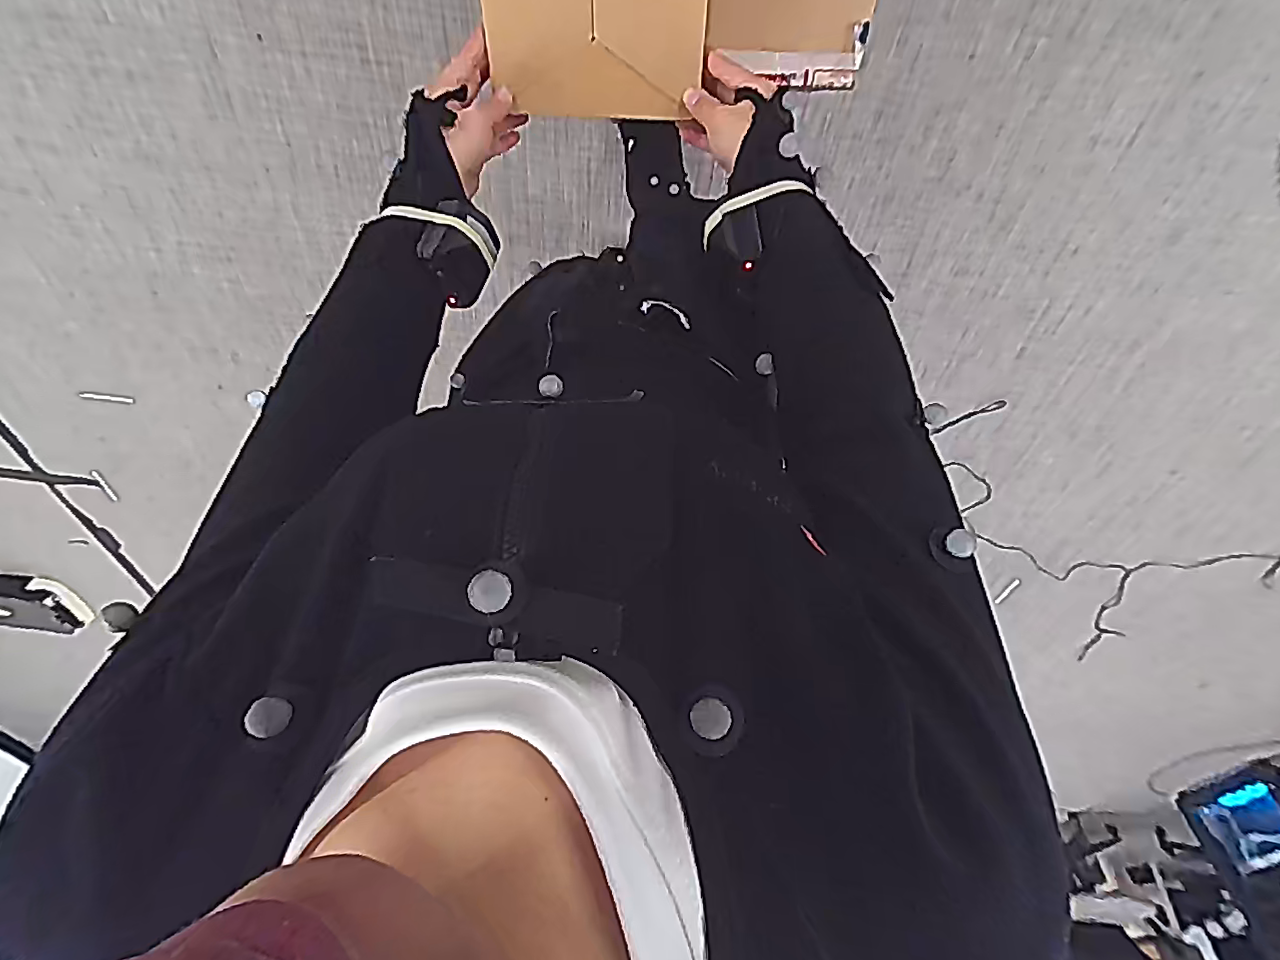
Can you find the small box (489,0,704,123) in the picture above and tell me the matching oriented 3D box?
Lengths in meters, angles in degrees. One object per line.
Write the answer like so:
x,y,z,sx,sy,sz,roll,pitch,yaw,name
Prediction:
-0.034,-0.423,0.478,0.179,0.176,0.168,4,129,2,small box
